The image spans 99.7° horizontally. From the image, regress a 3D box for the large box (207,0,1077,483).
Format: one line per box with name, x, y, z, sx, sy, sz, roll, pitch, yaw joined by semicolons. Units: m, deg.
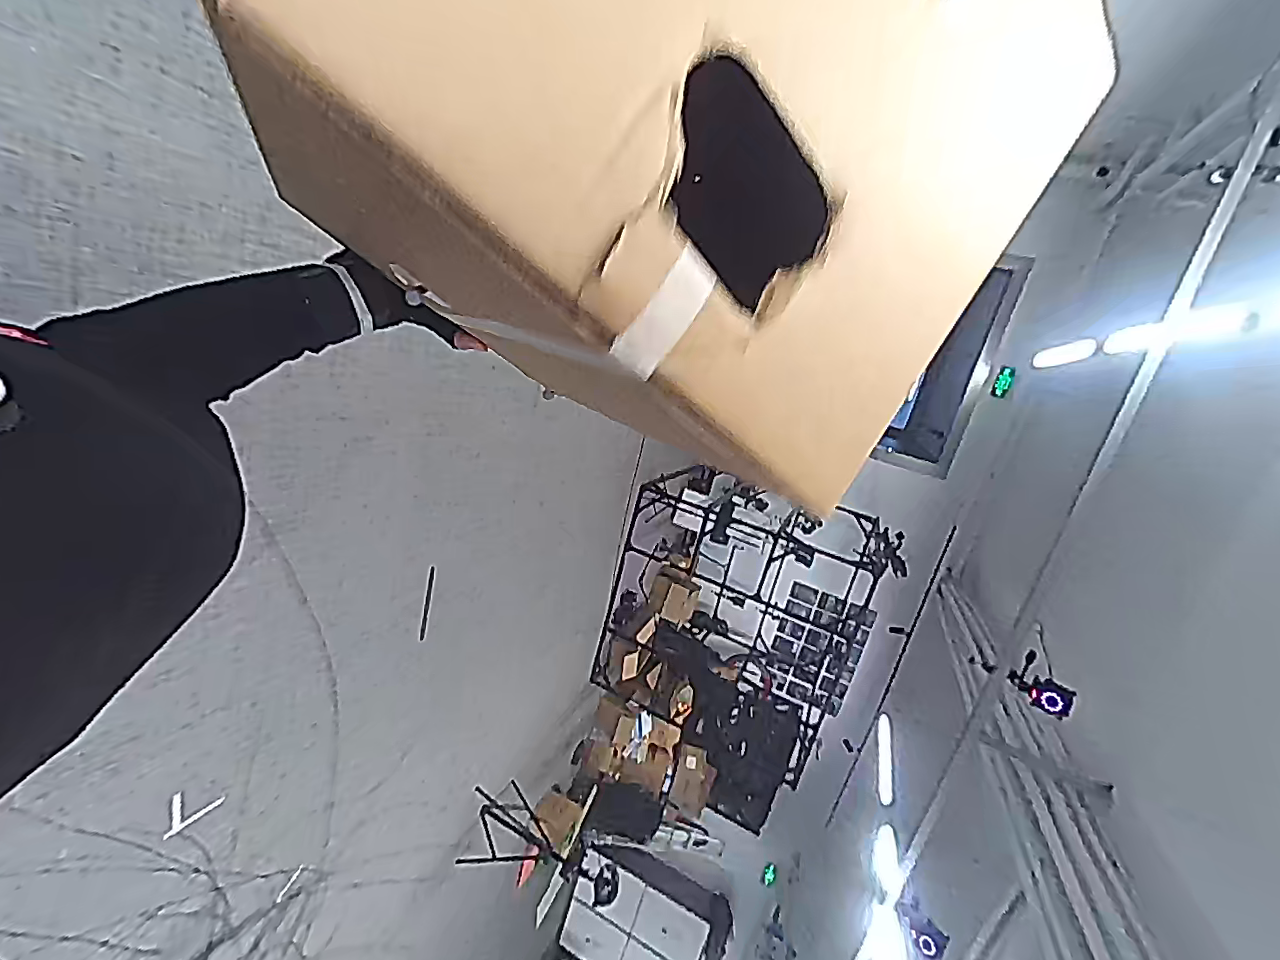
large box;-0.022;-0.246;0.388;0.320;0.408;0.320;35;88;-34
